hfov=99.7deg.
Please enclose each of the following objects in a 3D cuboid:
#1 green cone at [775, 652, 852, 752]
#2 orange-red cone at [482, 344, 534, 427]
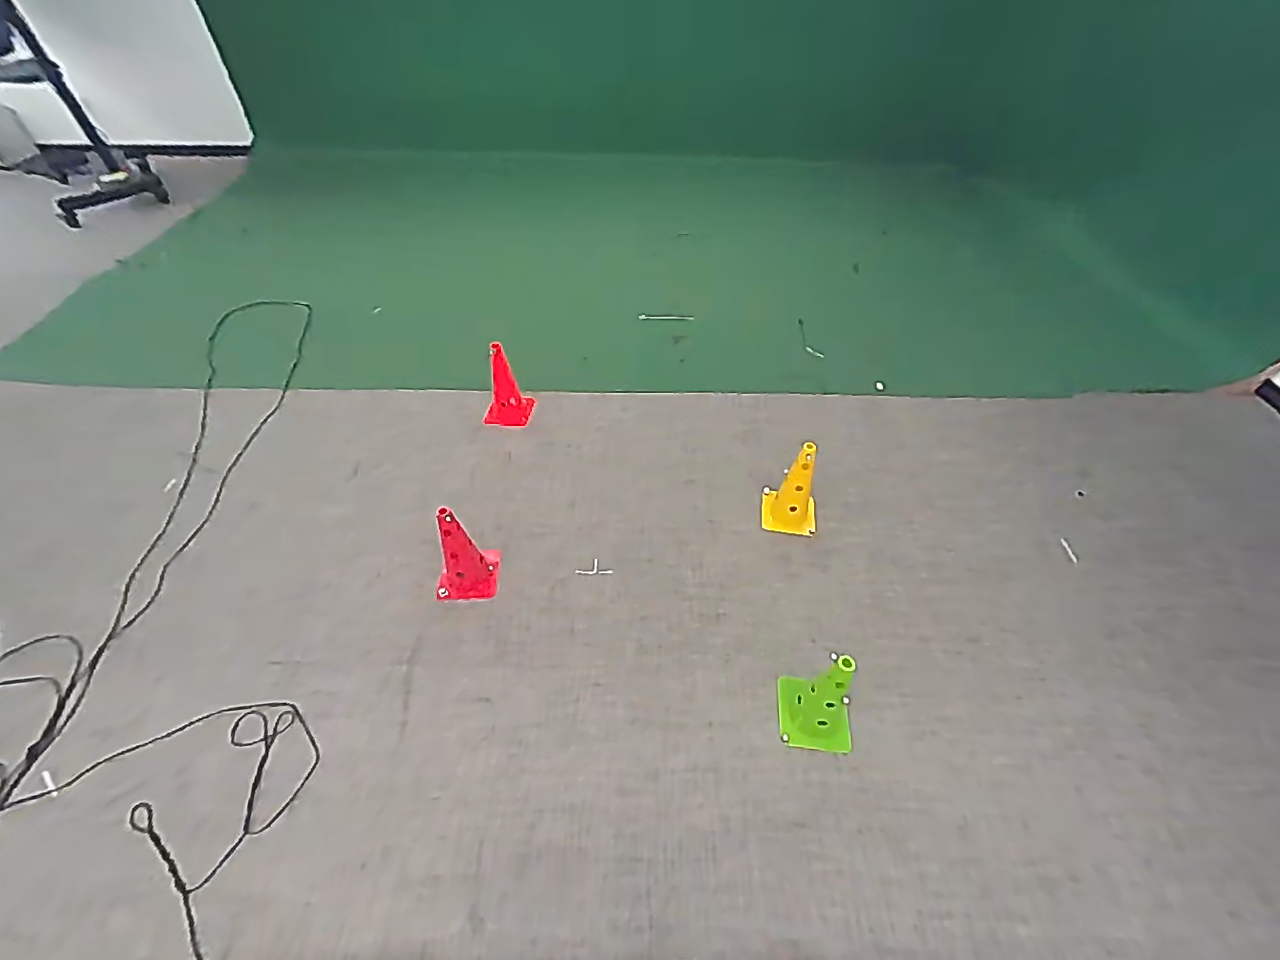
[{"bbox_3d":[0.504,0.568,1.460,0.200,0.368,0.202,5,47,3],"label":"green cone"},{"bbox_3d":[-0.599,-0.426,2.333,0.199,0.360,0.198,5,47,6],"label":"orange-red cone"}]
